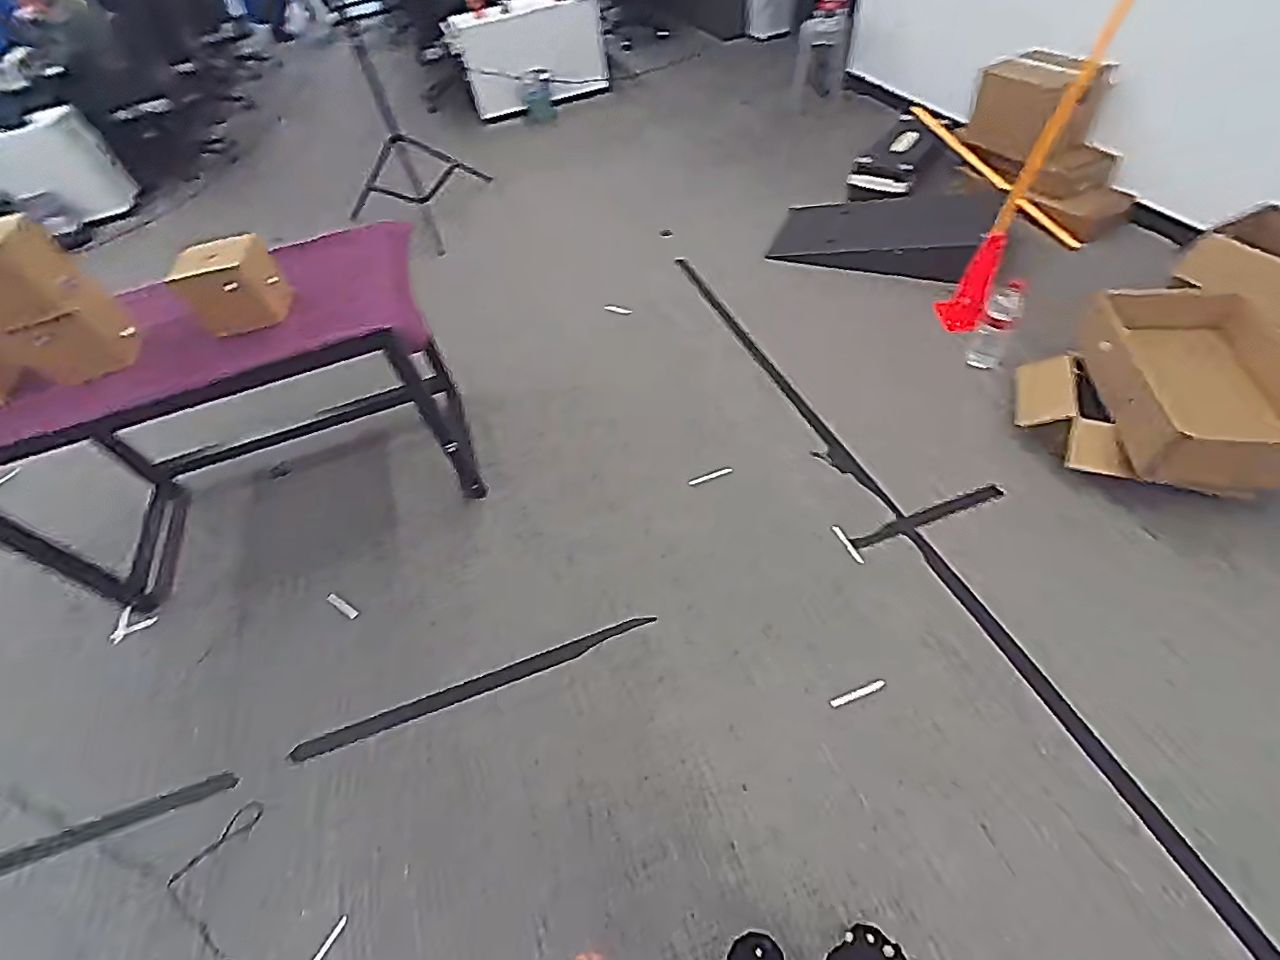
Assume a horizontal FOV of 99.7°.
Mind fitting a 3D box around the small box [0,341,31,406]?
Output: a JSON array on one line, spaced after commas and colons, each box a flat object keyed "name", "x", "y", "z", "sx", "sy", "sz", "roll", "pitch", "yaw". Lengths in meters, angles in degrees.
[{"name": "small box", "x": -1.661, "y": -0.270, "z": 1.312, "sx": 0.168, "sy": 0.176, "sz": 0.179, "roll": -22, "pitch": 52, "yaw": -9}]

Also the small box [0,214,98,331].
[{"name": "small box", "x": -1.402, "y": -0.462, "z": 1.216, "sx": 0.179, "sy": 0.176, "sz": 0.168, "roll": -18, "pitch": 53, "yaw": -8}]

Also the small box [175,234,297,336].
[{"name": "small box", "x": -1.030, "y": -0.502, "z": 1.399, "sx": 0.179, "sy": 0.176, "sz": 0.168, "roll": -14, "pitch": 51, "yaw": -2}]

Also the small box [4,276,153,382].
[{"name": "small box", "x": -1.388, "y": -0.373, "z": 1.351, "sx": 0.179, "sy": 0.176, "sz": 0.168, "roll": -21, "pitch": 52, "yaw": -9}]
